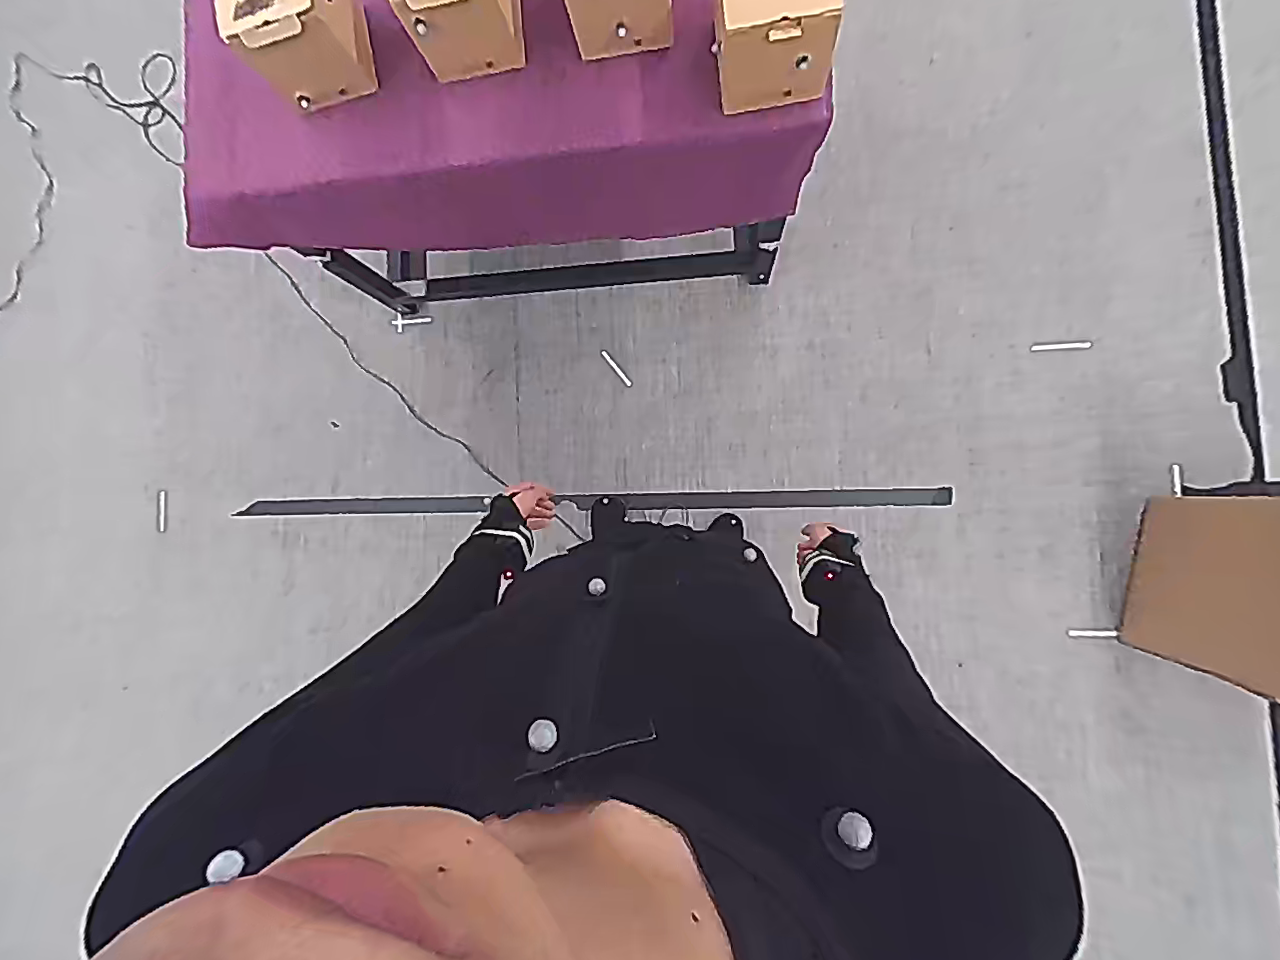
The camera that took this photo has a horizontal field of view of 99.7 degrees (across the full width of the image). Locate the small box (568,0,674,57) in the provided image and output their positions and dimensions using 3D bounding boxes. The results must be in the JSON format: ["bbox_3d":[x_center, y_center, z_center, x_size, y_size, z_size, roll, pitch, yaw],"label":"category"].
[{"bbox_3d":[-0.036,-0.833,0.864,0.168,0.176,0.179,-4,87,7],"label":"small box"}]

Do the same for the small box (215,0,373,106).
[{"bbox_3d":[-0.588,-0.787,0.931,0.168,0.176,0.179,-12,86,6],"label":"small box"}]

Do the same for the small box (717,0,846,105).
[{"bbox_3d":[0.206,-0.714,0.829,0.168,0.176,0.179,-5,86,7],"label":"small box"}]
